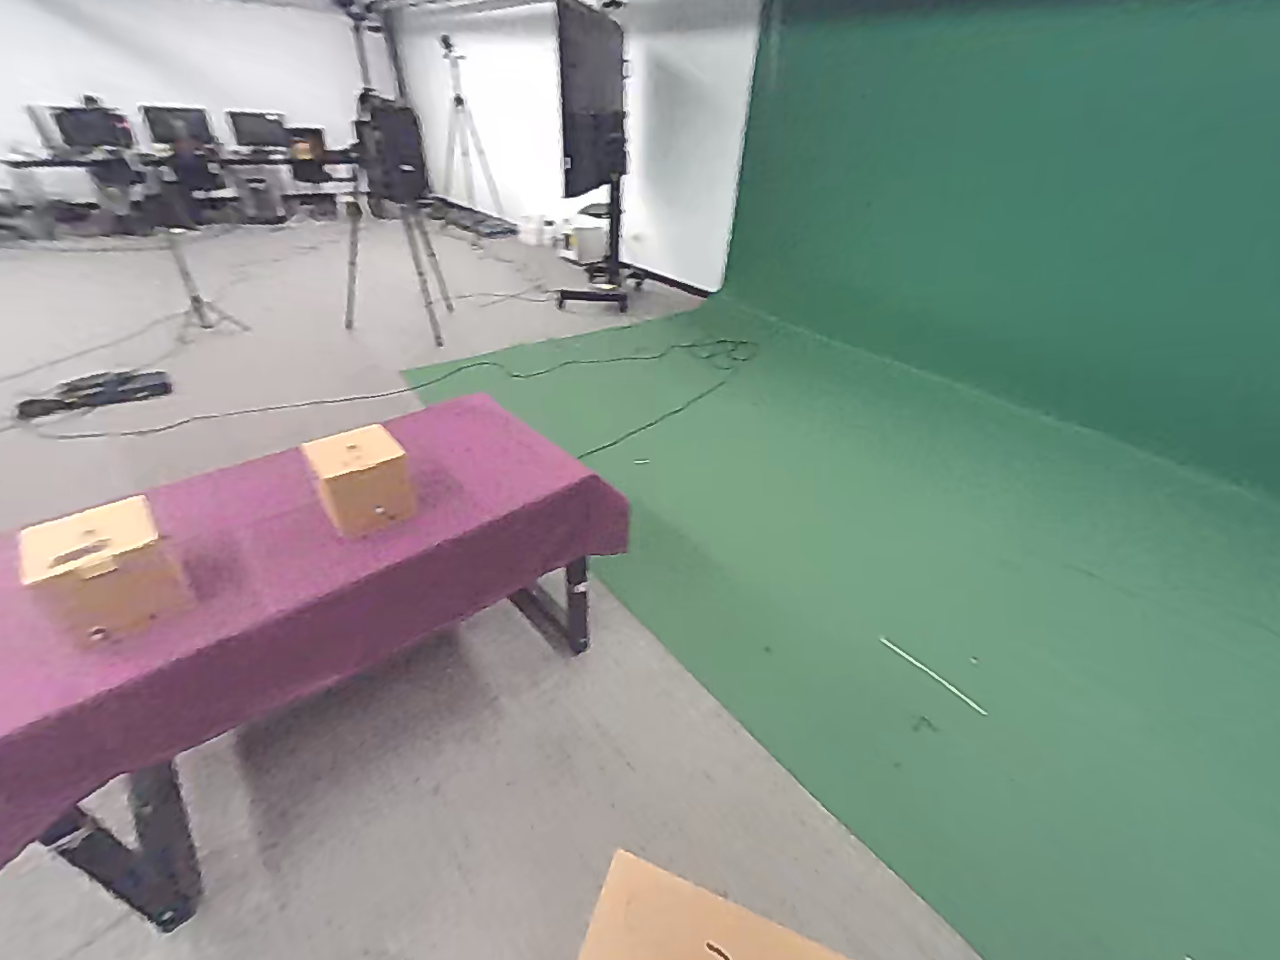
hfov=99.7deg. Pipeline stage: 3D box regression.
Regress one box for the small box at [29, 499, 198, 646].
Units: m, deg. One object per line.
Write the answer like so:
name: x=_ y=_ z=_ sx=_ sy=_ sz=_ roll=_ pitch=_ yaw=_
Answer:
small box: x=-0.930 y=0.168 z=0.965 sx=0.168 sy=0.176 sz=0.179 roll=-26 pitch=43 yaw=-36

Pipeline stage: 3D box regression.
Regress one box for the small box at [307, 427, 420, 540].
small box: x=-0.620 y=0.006 z=1.221 sx=0.168 sy=0.176 sz=0.179 roll=-24 pitch=43 yaw=-33
